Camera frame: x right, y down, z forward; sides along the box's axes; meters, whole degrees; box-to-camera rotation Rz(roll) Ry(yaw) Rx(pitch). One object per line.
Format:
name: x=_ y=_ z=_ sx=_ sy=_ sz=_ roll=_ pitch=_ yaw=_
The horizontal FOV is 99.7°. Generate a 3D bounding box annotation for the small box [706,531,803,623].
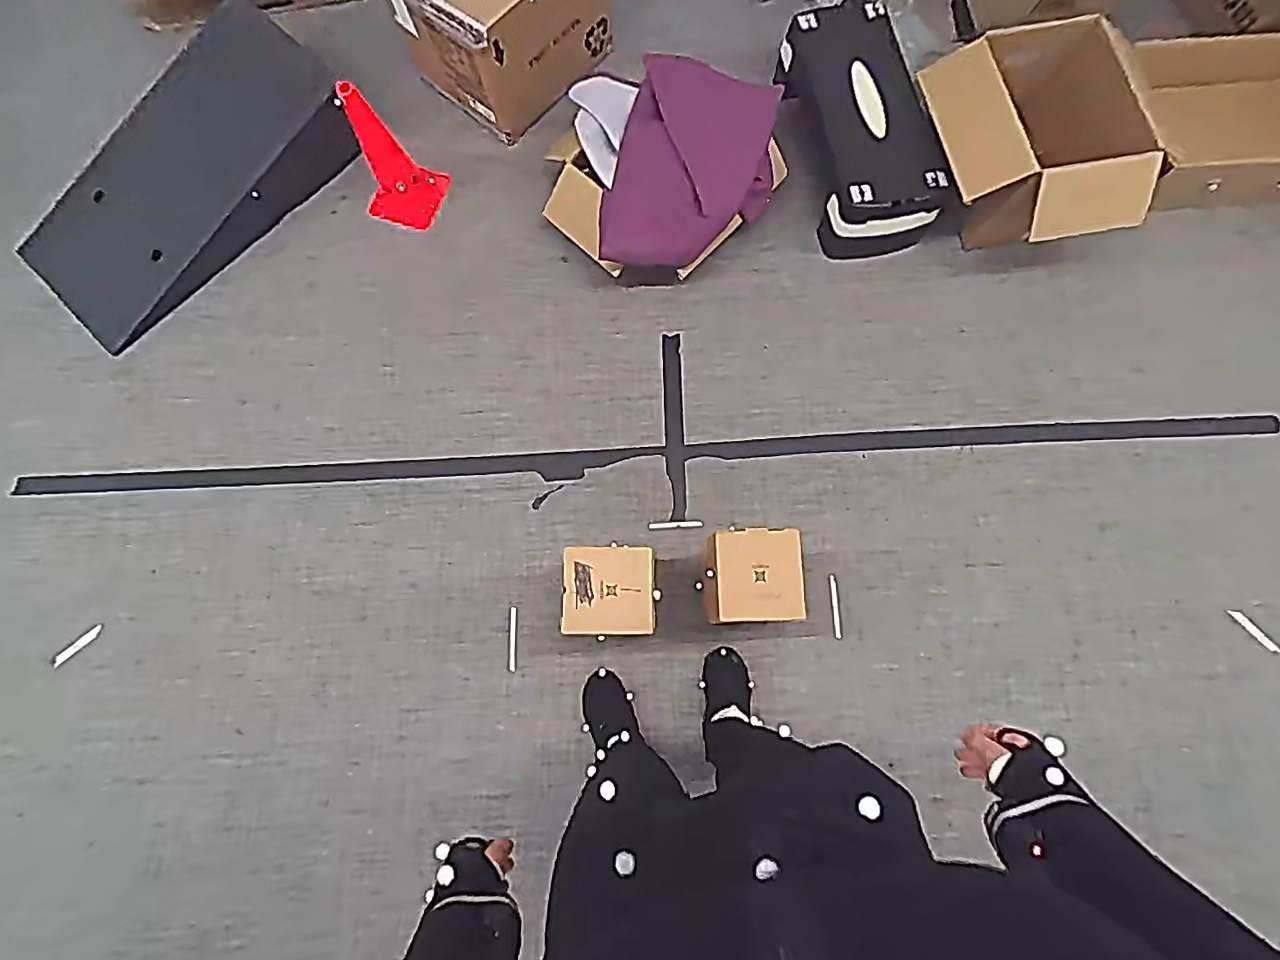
small box: x=0.230 y=0.203 z=1.124 sx=0.168 sy=0.176 sz=0.179 roll=-1 pitch=79 yaw=1

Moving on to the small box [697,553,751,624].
small box: x=0.236 y=0.250 z=1.281 sx=0.179 sy=0.176 sz=0.168 roll=-3 pitch=77 yaw=0

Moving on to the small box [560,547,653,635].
small box: x=-0.063 y=0.231 z=1.118 sx=0.179 sy=0.176 sz=0.168 roll=1 pitch=77 yaw=0
